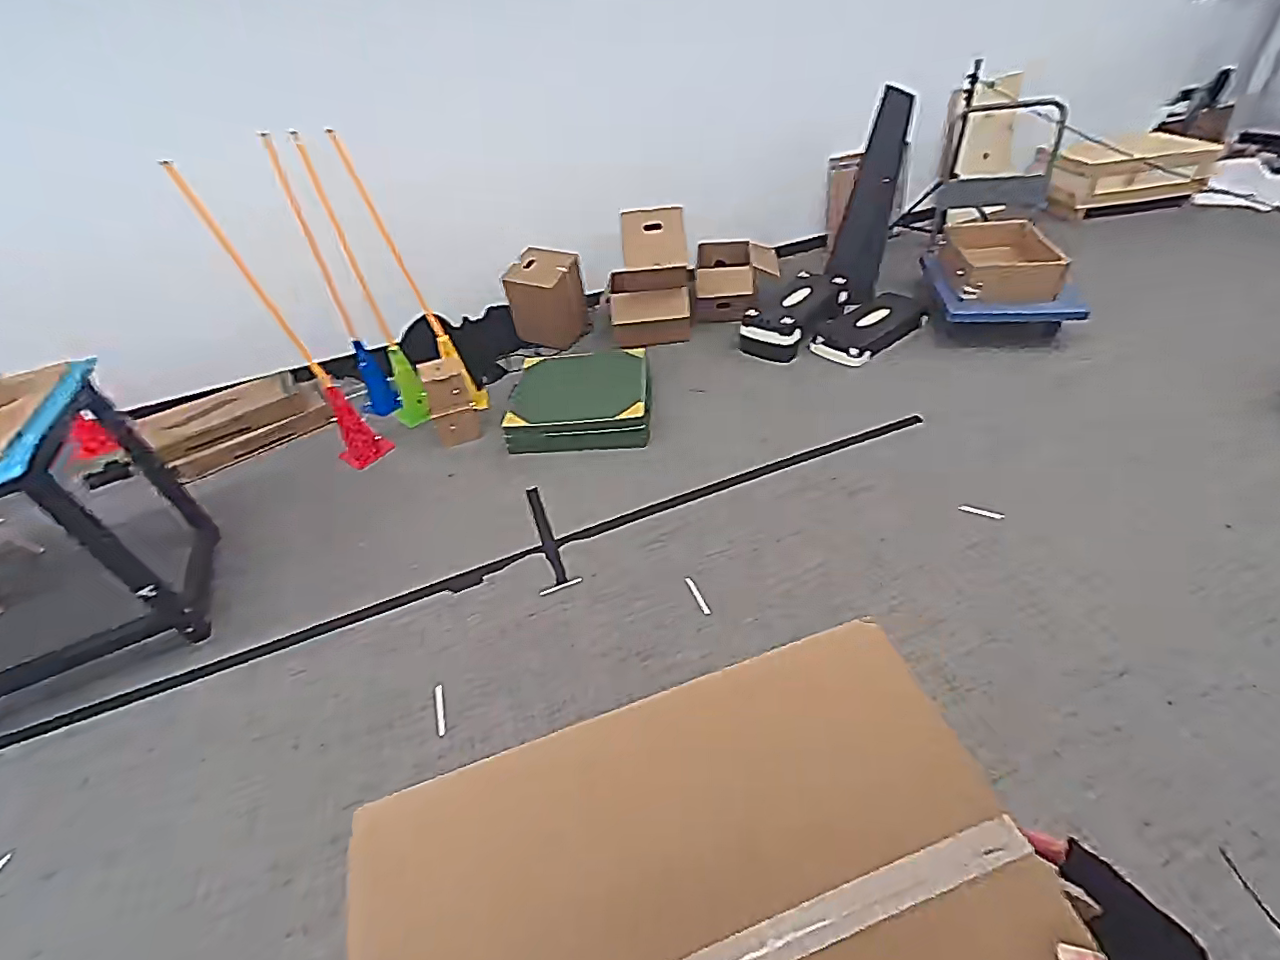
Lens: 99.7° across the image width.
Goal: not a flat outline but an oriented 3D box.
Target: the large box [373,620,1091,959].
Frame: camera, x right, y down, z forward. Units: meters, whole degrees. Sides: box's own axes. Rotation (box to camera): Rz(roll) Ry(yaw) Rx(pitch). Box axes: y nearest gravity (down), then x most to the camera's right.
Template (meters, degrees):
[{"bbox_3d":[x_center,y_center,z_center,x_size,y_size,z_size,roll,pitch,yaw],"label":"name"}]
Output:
[{"bbox_3d":[0.058,0.378,0.430,0.408,0.320,0.320,-18,51,-8],"label":"large box"}]
